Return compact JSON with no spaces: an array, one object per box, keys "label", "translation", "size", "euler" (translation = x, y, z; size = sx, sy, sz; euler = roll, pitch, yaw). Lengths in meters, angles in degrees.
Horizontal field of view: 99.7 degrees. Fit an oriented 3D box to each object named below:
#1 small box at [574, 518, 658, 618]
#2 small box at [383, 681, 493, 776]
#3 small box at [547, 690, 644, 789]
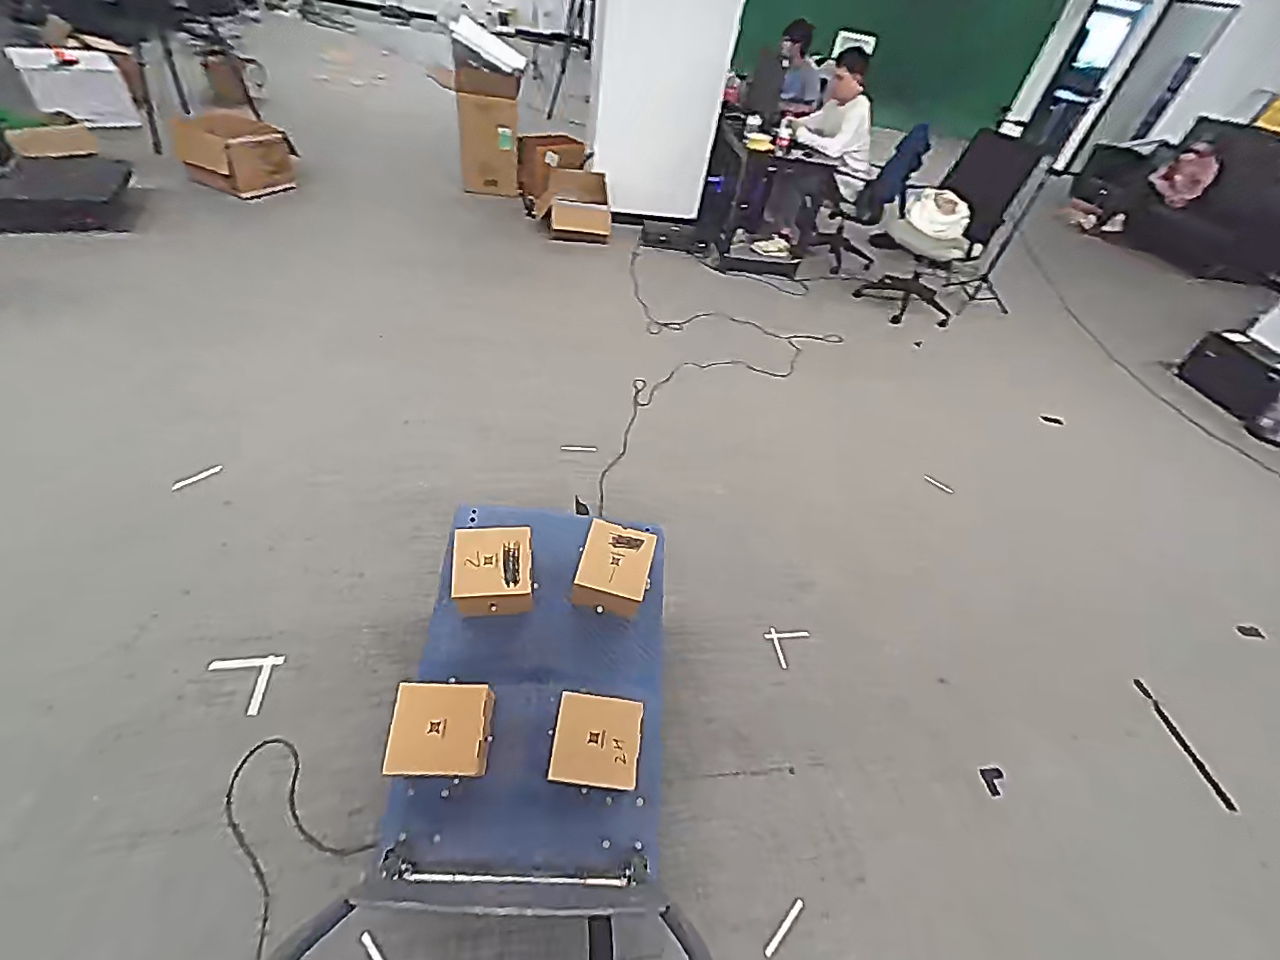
[{"label":"small box","translation":[-0.066,0.225,1.360],"size":[0.168,0.176,0.179],"euler":[16,60,-1]},{"label":"small box","translation":[-0.411,0.522,1.129],"size":[0.179,0.176,0.168],"euler":[5,60,-9]},{"label":"small box","translation":[-0.098,0.562,1.163],"size":[0.179,0.176,0.168],"euler":[11,60,-4]}]
